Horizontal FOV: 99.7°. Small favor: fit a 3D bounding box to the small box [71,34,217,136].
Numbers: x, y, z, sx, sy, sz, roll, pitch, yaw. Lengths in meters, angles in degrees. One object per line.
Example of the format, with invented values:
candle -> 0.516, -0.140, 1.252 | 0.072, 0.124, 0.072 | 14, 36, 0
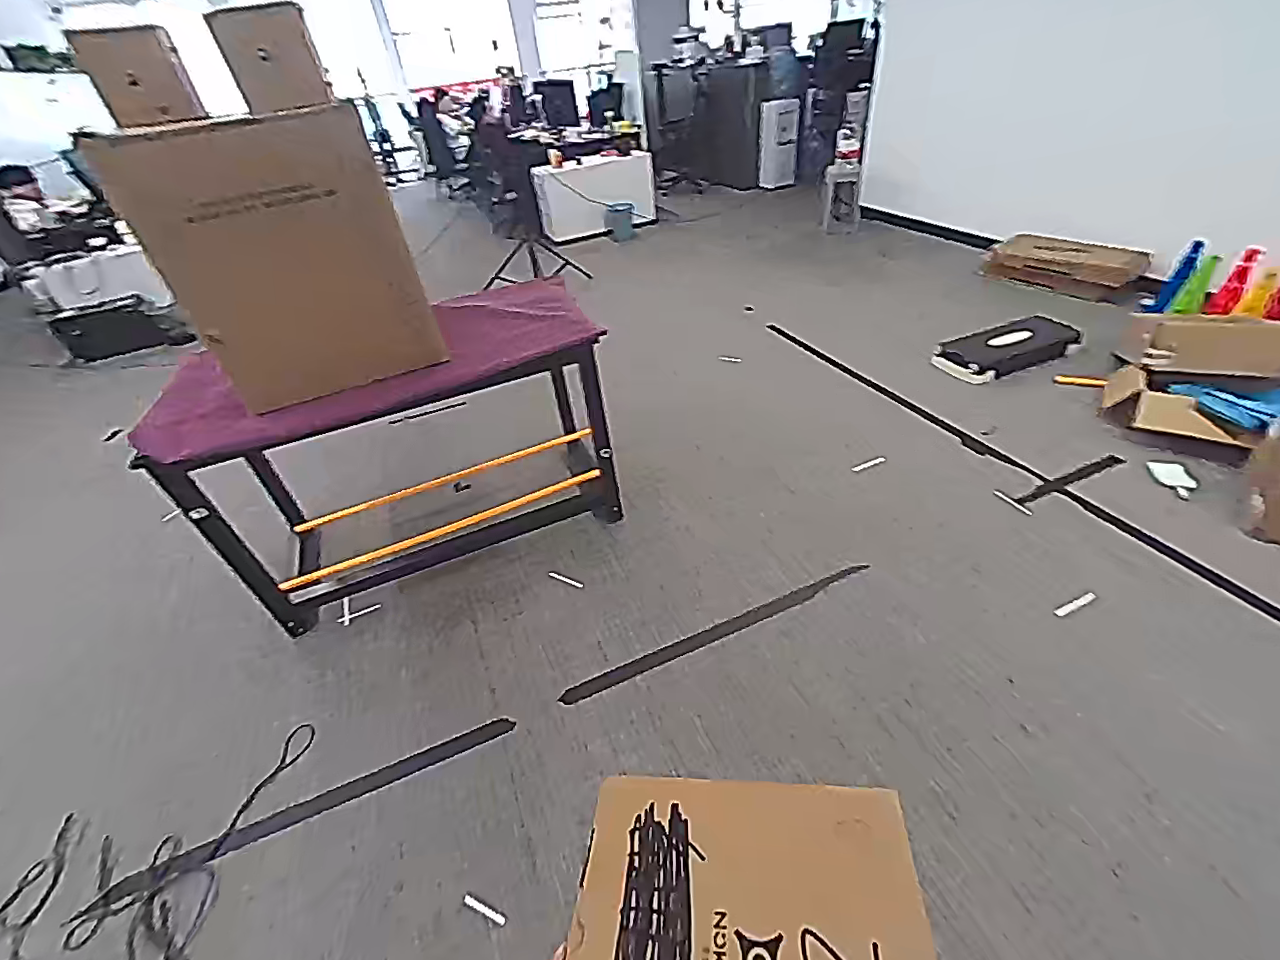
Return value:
small box -> -1.098, -0.885, 1.218 | 0.168, 0.176, 0.179 | -19, 40, -16
